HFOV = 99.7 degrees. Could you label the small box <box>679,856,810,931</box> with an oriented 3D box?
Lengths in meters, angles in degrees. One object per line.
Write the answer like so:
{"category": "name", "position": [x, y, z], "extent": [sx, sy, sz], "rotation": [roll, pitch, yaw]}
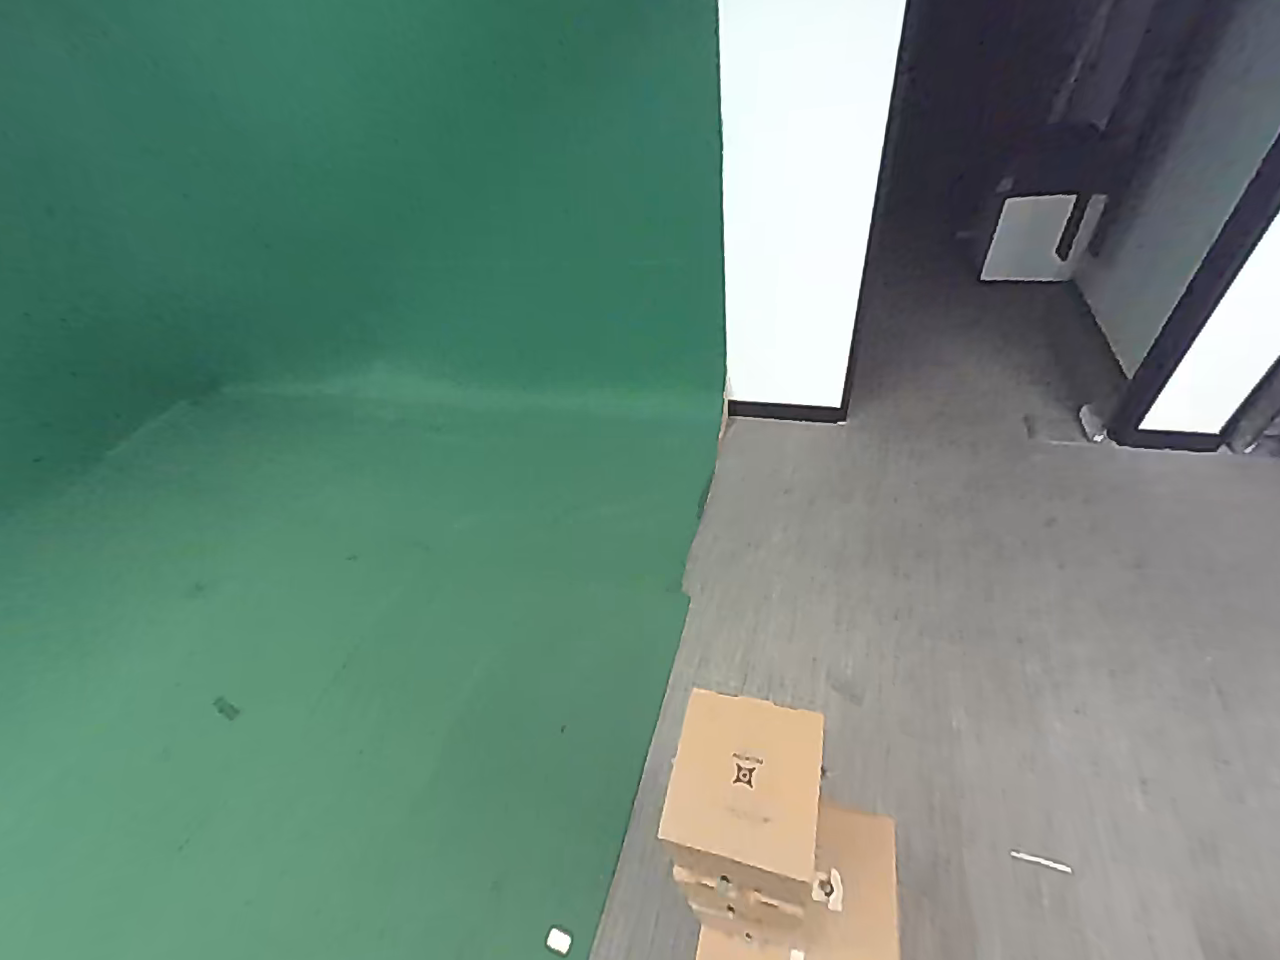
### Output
{"category": "small box", "position": [0.163, 0.513, 0.784], "extent": [0.168, 0.176, 0.179], "rotation": [3, 46, 19]}

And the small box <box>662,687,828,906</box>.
{"category": "small box", "position": [0.139, 0.392, 0.676], "extent": [0.168, 0.176, 0.179], "rotation": [4, 47, 21]}

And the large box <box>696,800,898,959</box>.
{"category": "large box", "position": [0.288, 0.850, 1.002], "extent": [0.320, 0.320, 0.408], "rotation": [5, 45, 17]}
